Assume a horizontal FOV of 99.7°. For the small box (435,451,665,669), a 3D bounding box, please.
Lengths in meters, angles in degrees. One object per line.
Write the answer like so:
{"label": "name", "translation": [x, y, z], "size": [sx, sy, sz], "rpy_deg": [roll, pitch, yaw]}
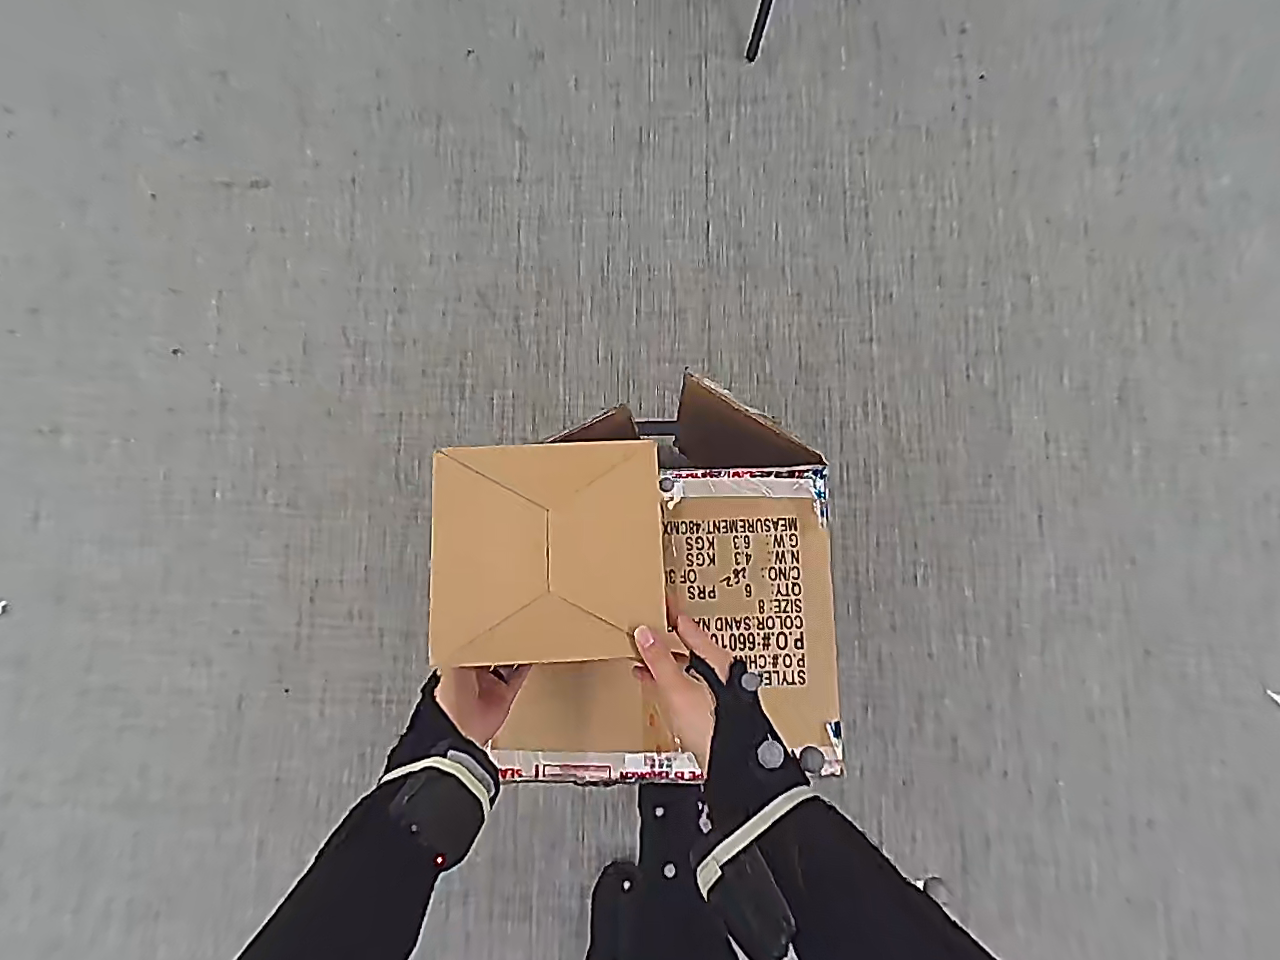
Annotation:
{"label": "small box", "translation": [-0.071, 0.072, 0.494], "size": [0.179, 0.176, 0.168], "rpy_deg": [-2, 80, -3]}
